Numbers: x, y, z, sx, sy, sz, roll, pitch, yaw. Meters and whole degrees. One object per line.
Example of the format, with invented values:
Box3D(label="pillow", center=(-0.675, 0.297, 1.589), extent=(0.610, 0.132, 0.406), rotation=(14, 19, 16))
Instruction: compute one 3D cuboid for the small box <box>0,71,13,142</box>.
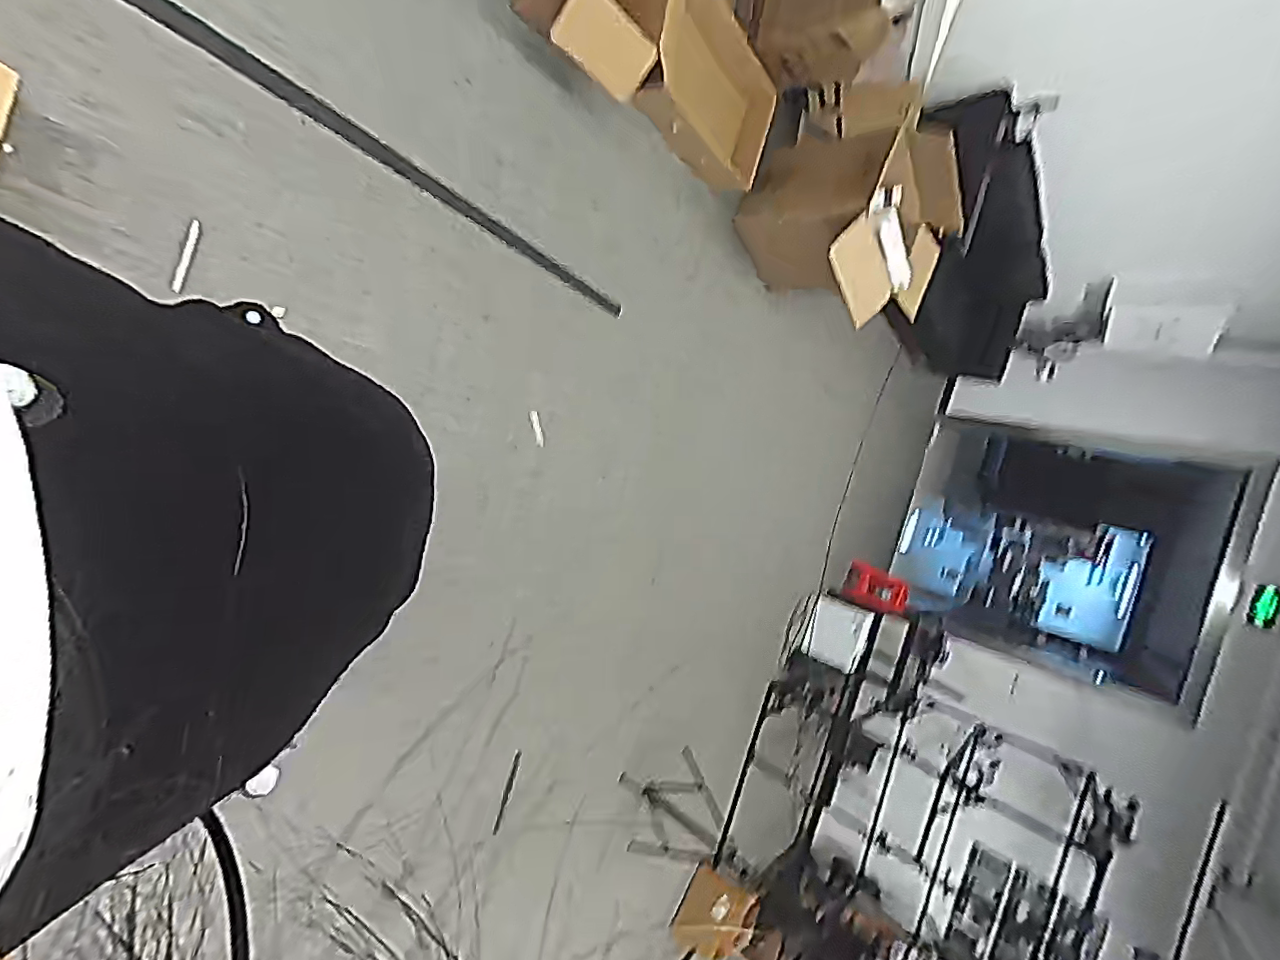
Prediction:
Box3D(label="small box", center=(-1.082, -0.565, 0.806), extent=(0.168, 0.176, 0.179), rotation=(20, 89, -51))
